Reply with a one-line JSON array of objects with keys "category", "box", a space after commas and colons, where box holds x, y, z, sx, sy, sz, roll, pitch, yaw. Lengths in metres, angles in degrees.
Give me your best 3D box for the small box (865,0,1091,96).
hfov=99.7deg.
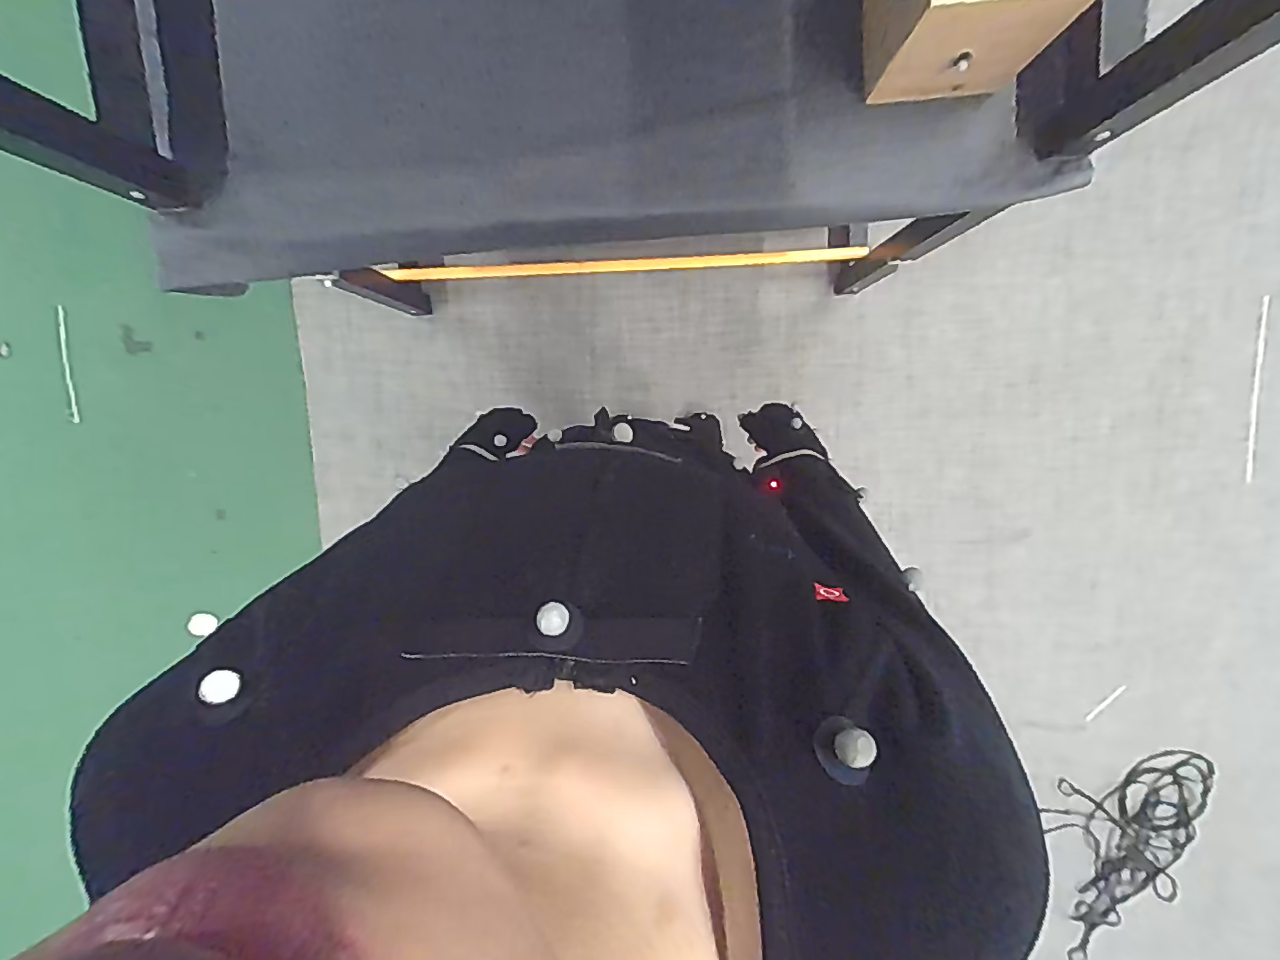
[{"category": "small box", "box": [0.355, -0.549, 0.582, 0.168, 0.176, 0.179, -4, 97, 2]}]
